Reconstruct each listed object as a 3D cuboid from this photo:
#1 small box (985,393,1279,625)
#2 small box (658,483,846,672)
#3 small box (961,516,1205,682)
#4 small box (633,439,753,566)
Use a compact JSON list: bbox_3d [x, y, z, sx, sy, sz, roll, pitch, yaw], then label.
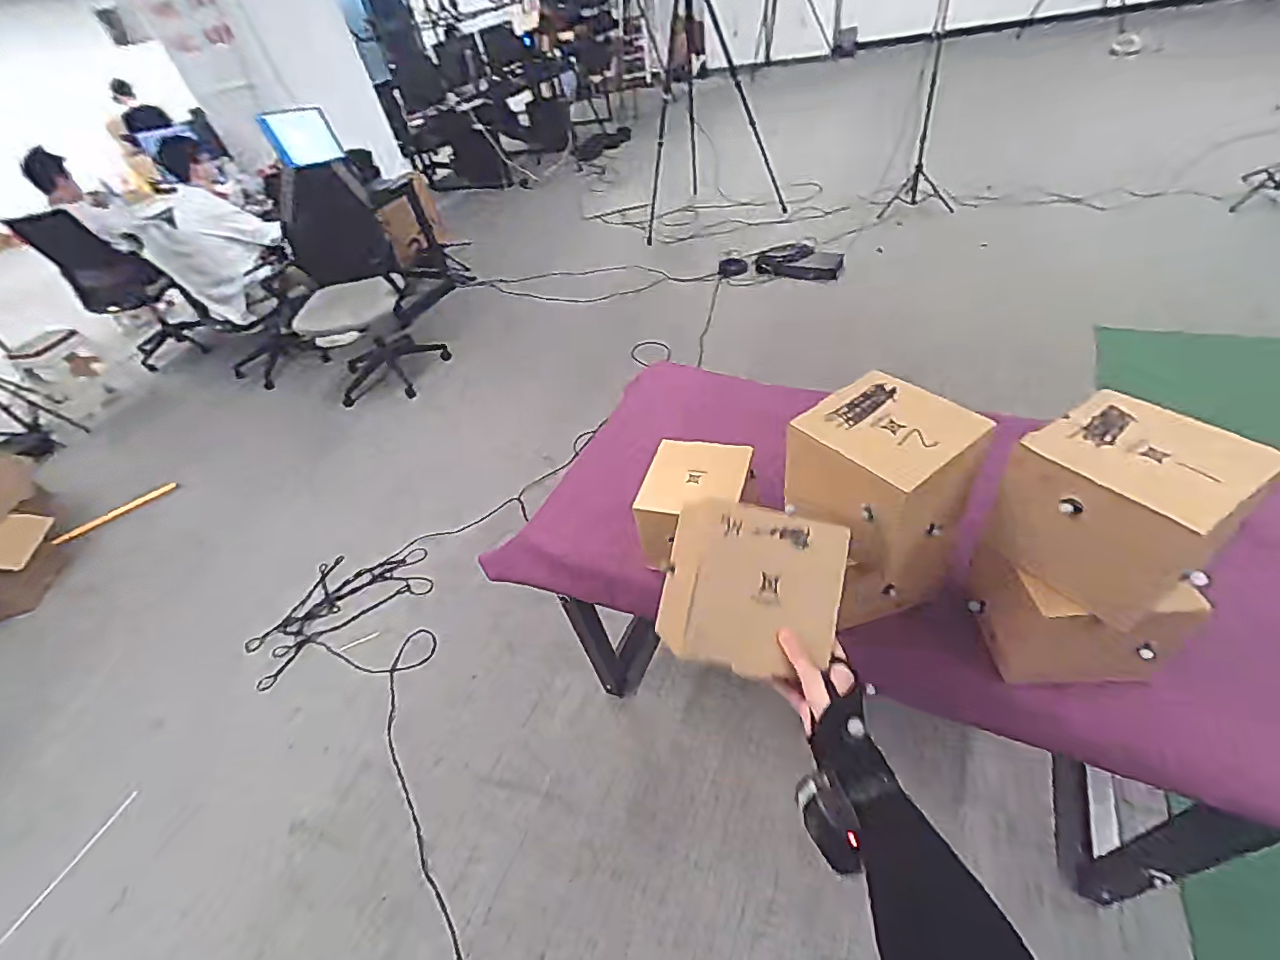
[{"bbox_3d":[0.546,0.031,0.627,0.168,0.176,0.179,-26,44,-16],"label":"small box"},{"bbox_3d":[0.124,0.113,0.668,0.168,0.176,0.179,14,84,-5],"label":"small box"},{"bbox_3d":[0.569,0.158,0.729,0.179,0.176,0.168,-5,42,10],"label":"small box"},{"bbox_3d":[0.103,0.051,0.947,0.168,0.176,0.179,7,45,19],"label":"small box"}]
